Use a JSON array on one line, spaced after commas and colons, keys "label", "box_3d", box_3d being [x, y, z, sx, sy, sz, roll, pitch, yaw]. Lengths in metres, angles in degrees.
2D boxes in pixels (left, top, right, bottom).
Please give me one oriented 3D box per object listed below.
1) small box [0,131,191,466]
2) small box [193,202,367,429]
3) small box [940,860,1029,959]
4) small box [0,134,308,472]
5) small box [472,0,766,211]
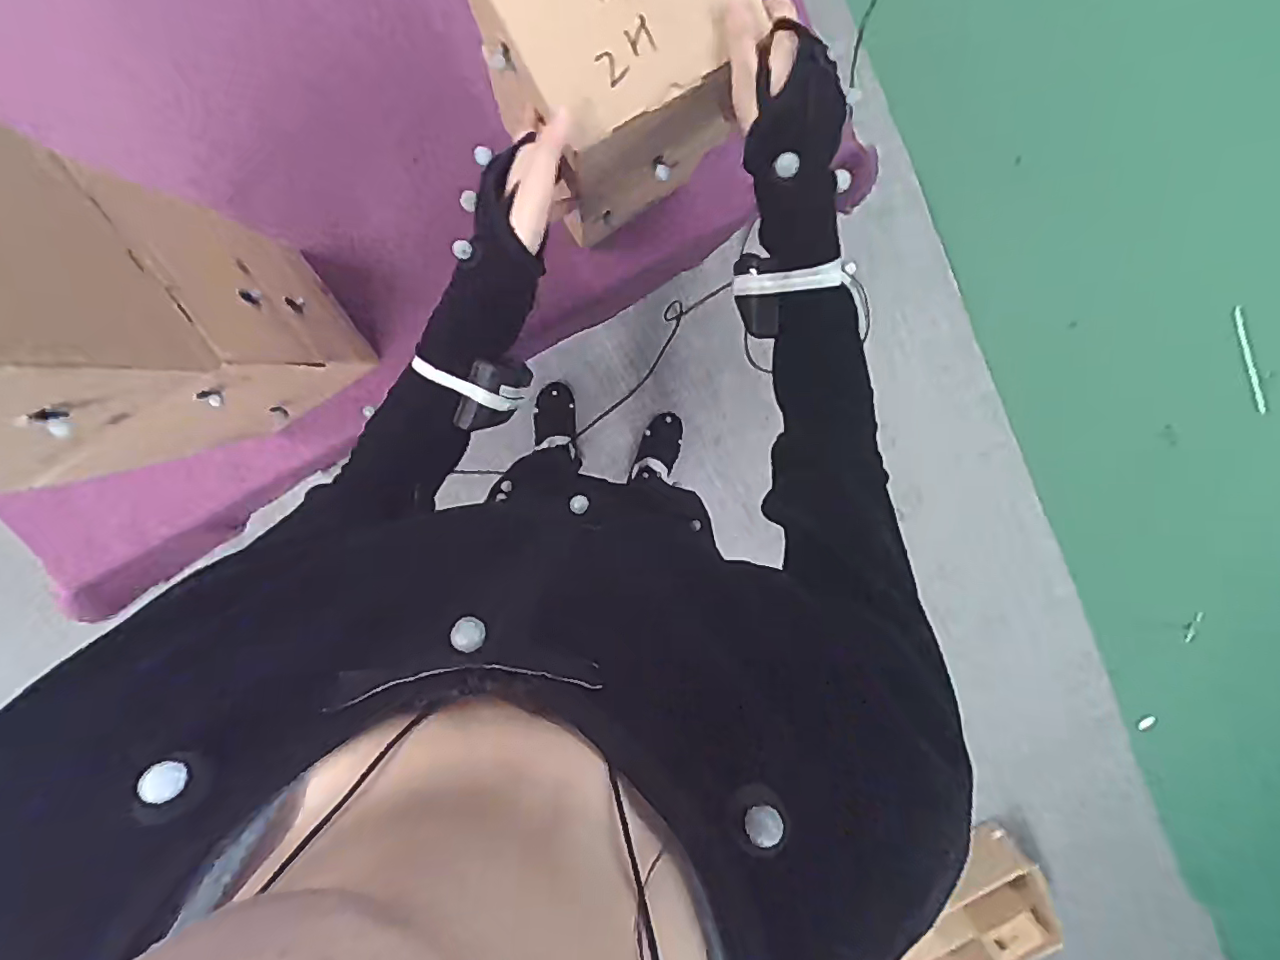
[{"label": "small box", "box_3d": [-0.409, -0.100, 0.288, 0.168, 0.176, 0.179, -30, 102, -2]}, {"label": "small box", "box_3d": [-0.449, -0.167, 0.604, 0.179, 0.176, 0.168, -32, 104, 0]}, {"label": "small box", "box_3d": [1.172, 1.472, 1.858, 0.179, 0.176, 0.168, -33, 104, -3]}, {"label": "small box", "box_3d": [-0.429, -0.129, 0.447, 0.179, 0.176, 0.168, -33, 103, -1]}, {"label": "small box", "box_3d": [-0.028, -0.358, 0.439, 0.168, 0.176, 0.179, -29, 102, 2]}]
